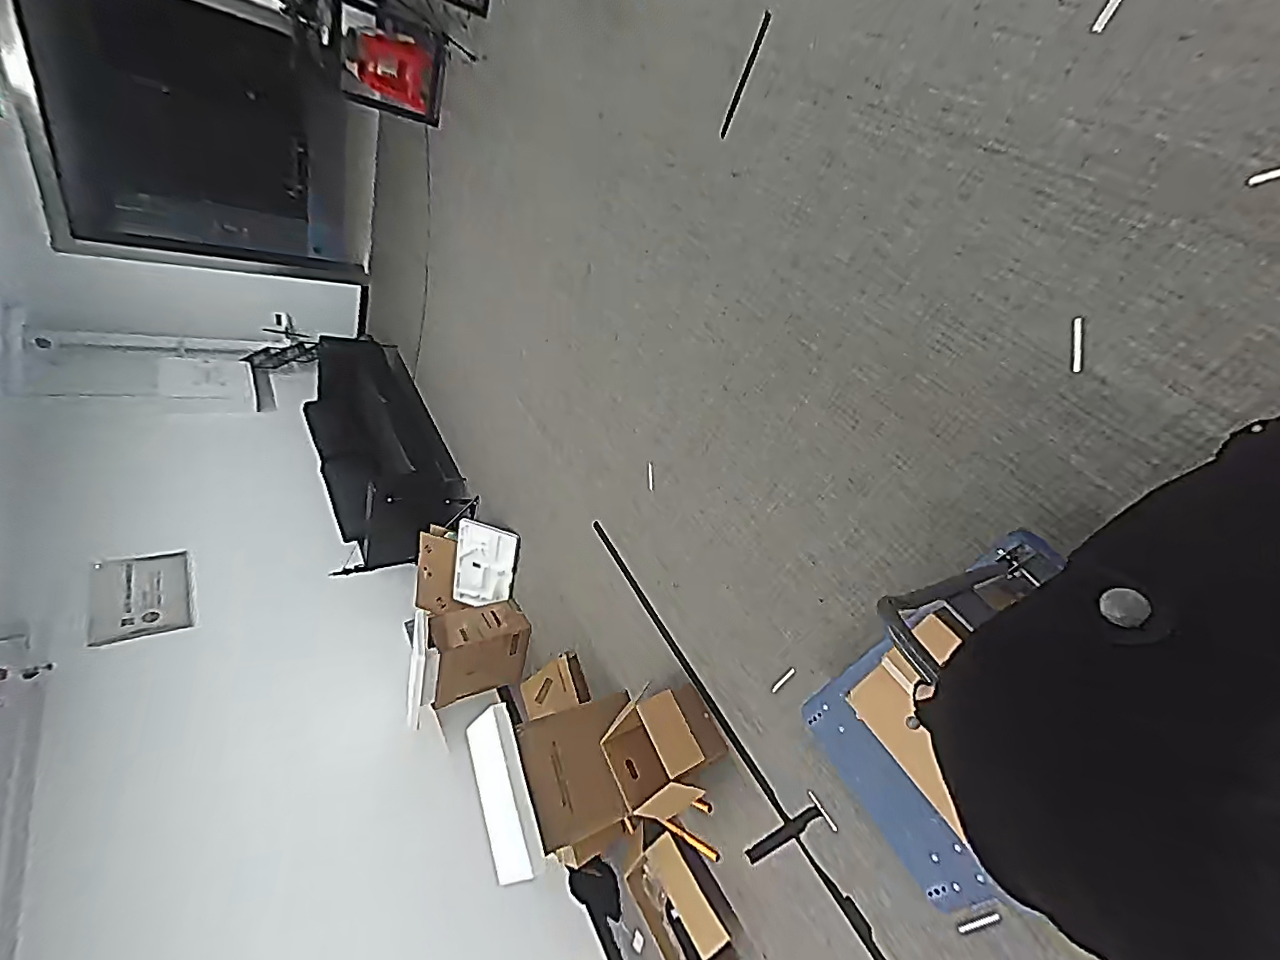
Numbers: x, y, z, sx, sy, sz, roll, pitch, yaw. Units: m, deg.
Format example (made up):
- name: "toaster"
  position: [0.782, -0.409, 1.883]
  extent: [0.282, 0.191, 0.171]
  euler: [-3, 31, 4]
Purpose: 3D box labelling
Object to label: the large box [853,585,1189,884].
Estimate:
- name: "large box"
  position: [0.744, 0.483, 1.099]
  extent: [0.408, 0.320, 0.320]
  euler: [53, 132, 36]
